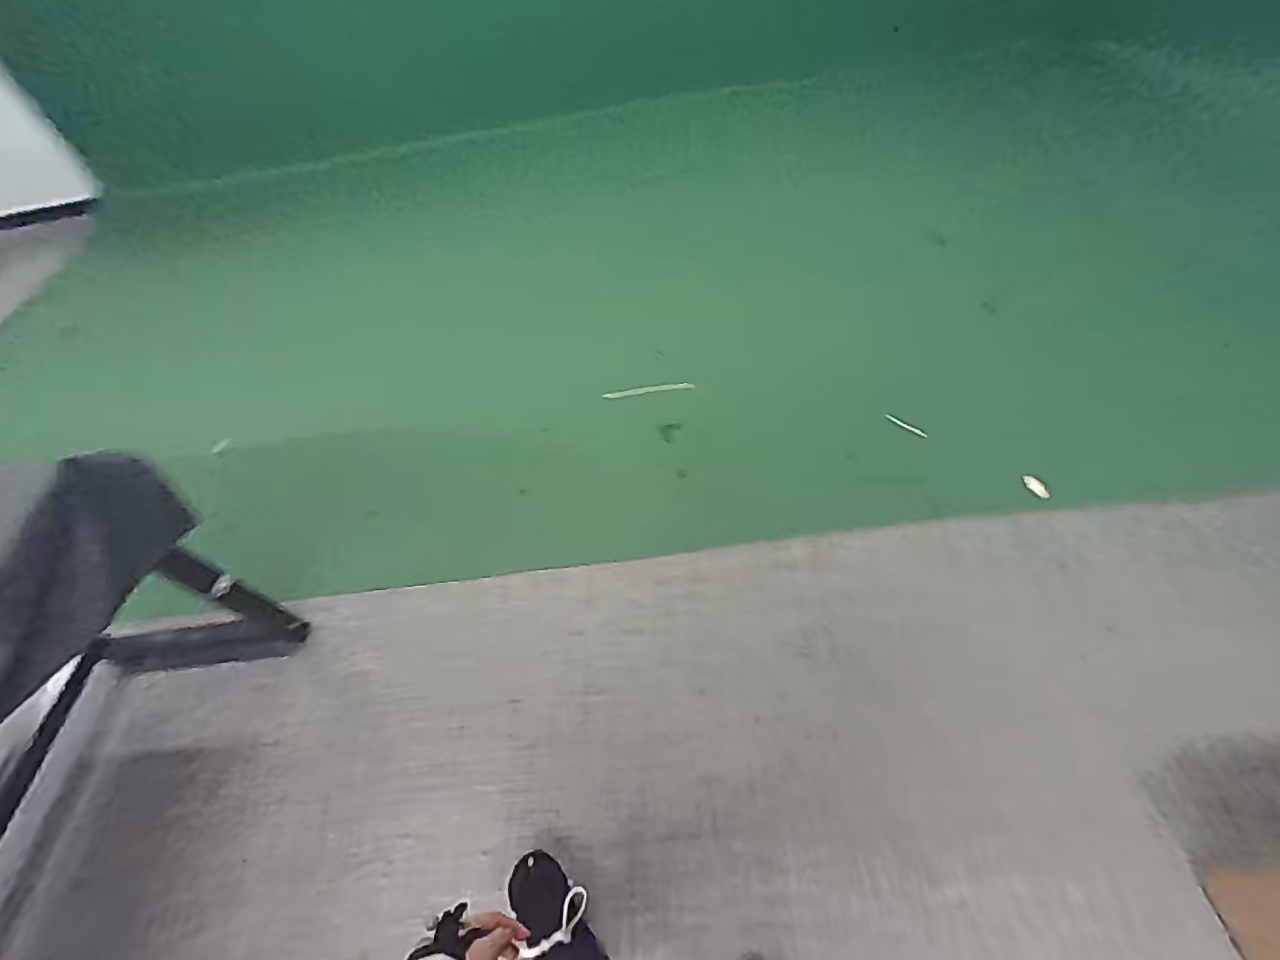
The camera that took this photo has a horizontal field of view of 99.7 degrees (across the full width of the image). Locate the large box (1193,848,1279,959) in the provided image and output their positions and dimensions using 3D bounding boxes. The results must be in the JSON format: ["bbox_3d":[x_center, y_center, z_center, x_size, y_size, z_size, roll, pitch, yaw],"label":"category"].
[{"bbox_3d":[1.143,0.735,0.735,0.320,0.320,0.408,-11,54,3],"label":"large box"}]
